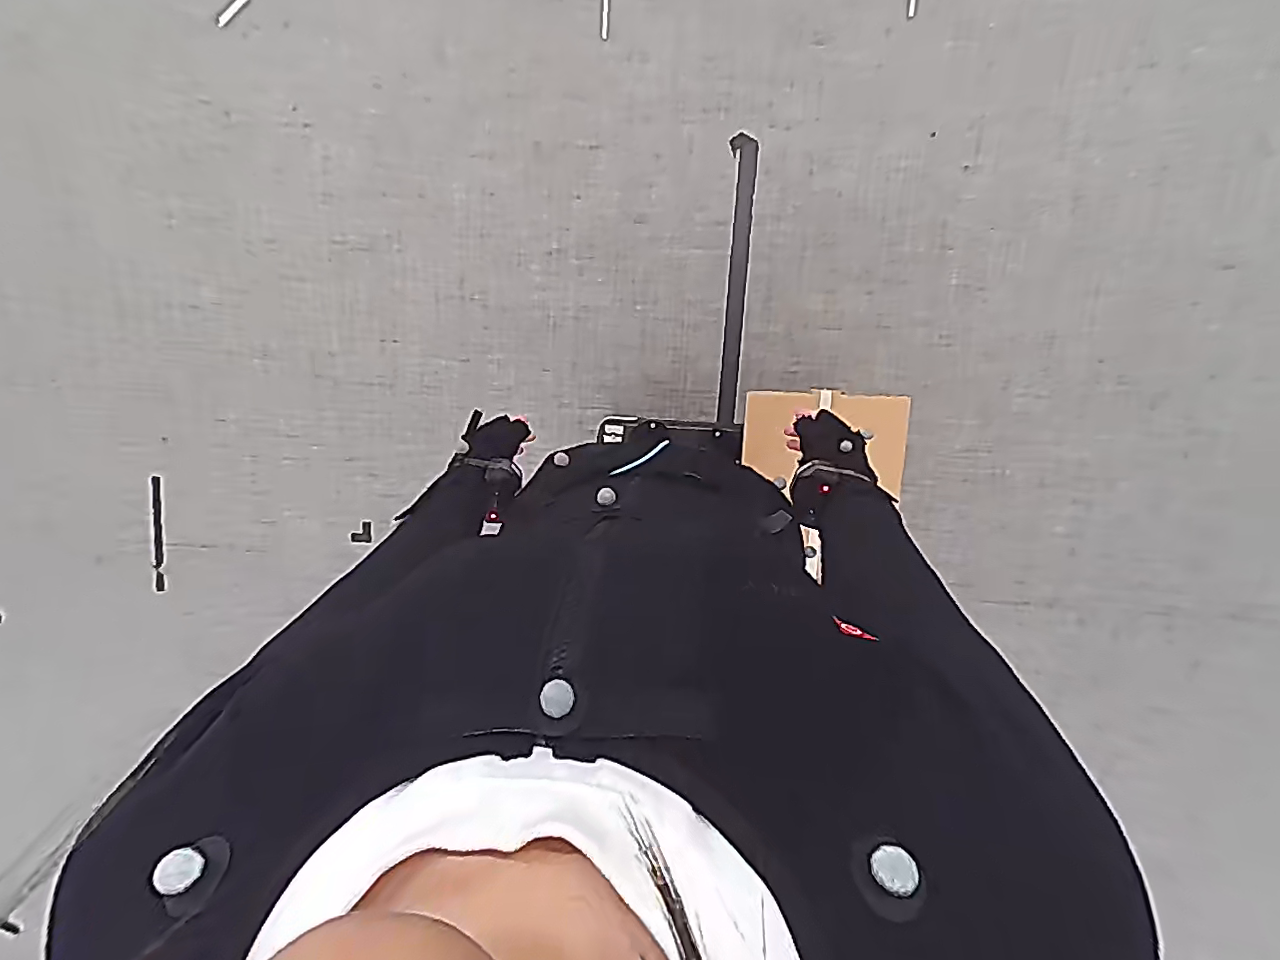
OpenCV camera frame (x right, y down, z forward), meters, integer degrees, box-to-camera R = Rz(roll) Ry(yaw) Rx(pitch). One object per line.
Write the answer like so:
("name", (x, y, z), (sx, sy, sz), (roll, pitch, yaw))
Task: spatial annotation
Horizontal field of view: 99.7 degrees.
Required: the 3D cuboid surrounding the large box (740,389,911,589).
("large box", (0.401, -0.004, 1.248), (0.320, 0.320, 0.408), (4, 100, 12))
